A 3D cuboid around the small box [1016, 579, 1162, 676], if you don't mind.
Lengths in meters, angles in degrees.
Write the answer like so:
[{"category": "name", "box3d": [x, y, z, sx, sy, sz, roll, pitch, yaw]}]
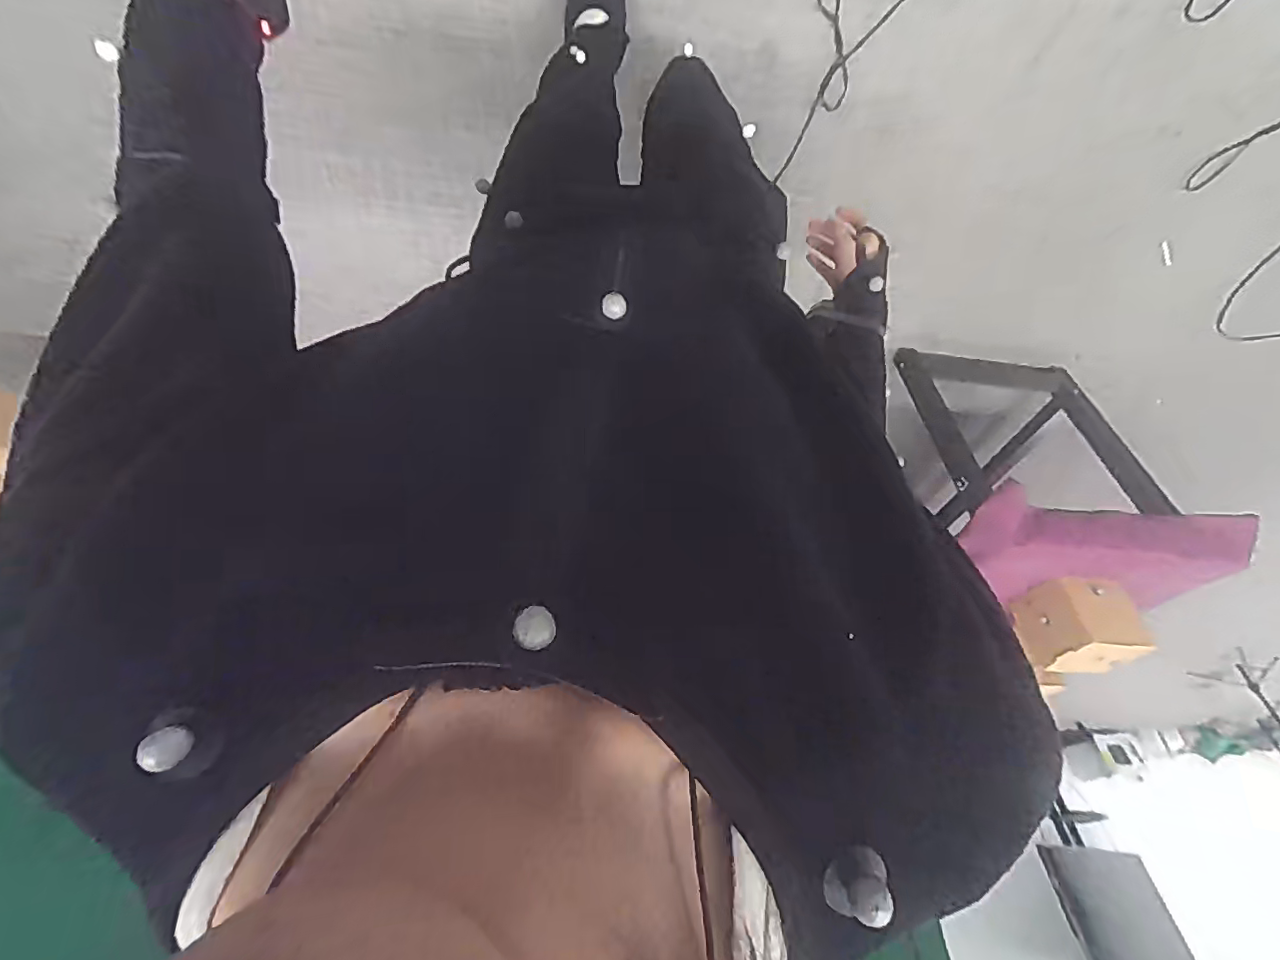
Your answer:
[{"category": "small box", "box3d": [1.055, 0.351, 1.291, 0.179, 0.176, 0.168, 7, 140, -8]}]
